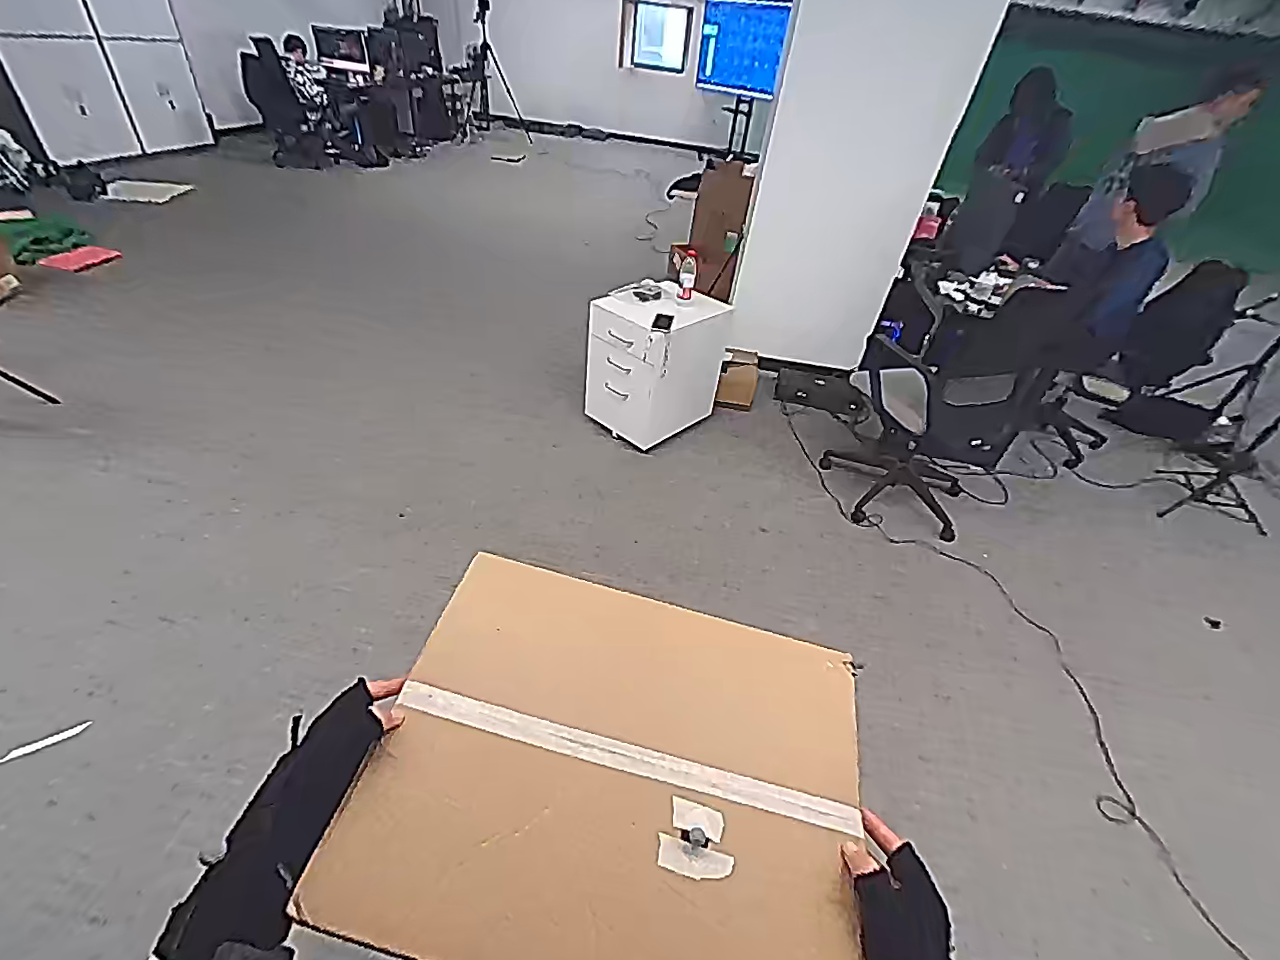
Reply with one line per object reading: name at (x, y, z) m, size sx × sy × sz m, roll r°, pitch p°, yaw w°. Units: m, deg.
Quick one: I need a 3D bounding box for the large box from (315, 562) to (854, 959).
large box at (-0.035, 0.343, 0.584) m, size 0.408 × 0.320 × 0.320 m, roll 16°, pitch 47°, yaw 2°
